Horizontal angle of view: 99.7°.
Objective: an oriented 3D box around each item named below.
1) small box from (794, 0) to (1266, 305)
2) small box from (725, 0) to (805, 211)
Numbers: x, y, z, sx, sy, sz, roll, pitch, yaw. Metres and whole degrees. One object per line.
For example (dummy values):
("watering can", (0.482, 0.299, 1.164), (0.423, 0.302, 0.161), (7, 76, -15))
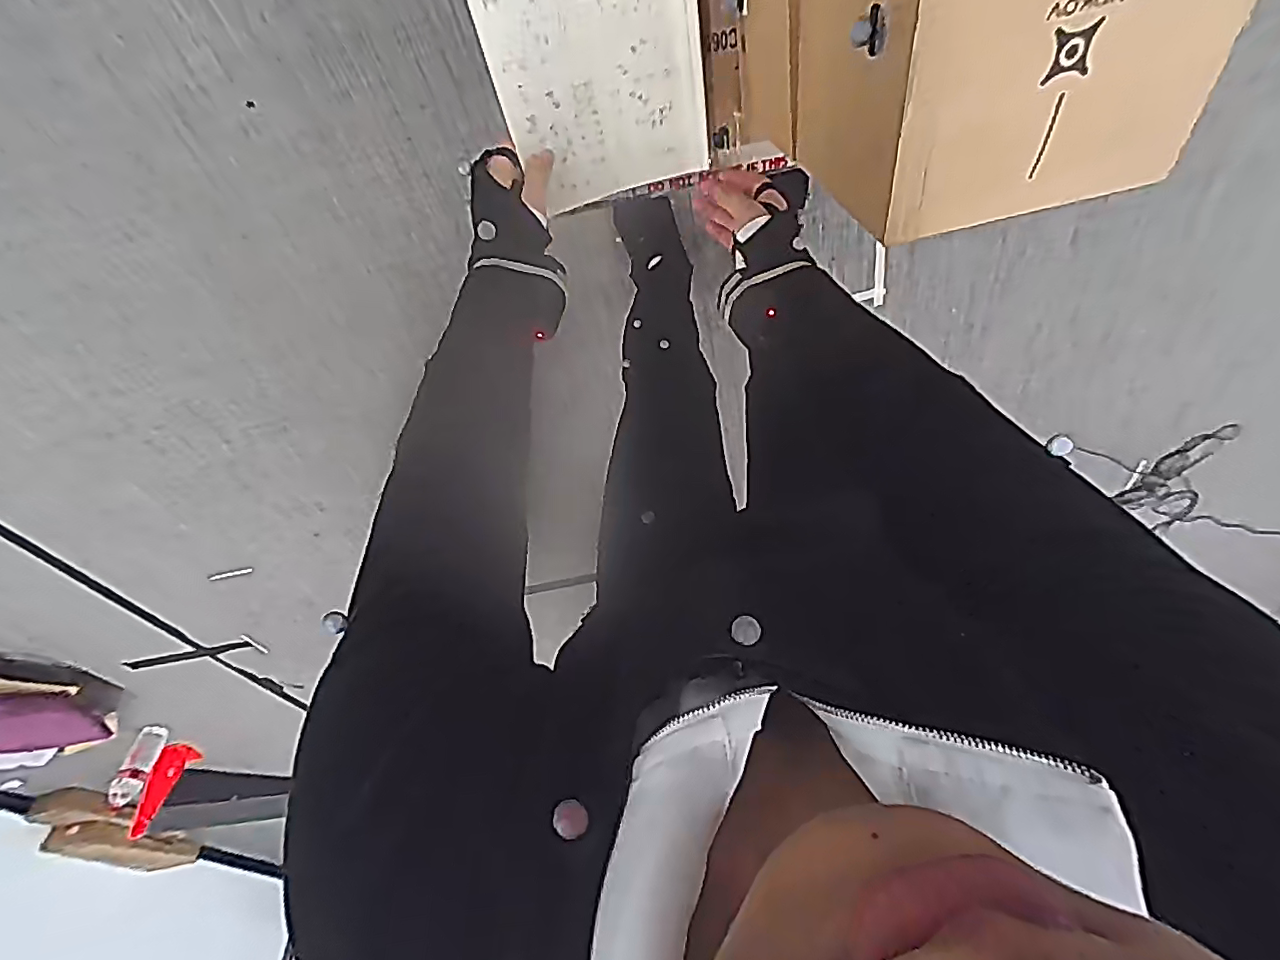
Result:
("small box", (0.201, -0.240, 0.329), (0.168, 0.176, 0.179), (-12, 137, 3))
("small box", (0.178, -0.356, 0.444), (0.179, 0.176, 0.168), (-14, 136, 6))
